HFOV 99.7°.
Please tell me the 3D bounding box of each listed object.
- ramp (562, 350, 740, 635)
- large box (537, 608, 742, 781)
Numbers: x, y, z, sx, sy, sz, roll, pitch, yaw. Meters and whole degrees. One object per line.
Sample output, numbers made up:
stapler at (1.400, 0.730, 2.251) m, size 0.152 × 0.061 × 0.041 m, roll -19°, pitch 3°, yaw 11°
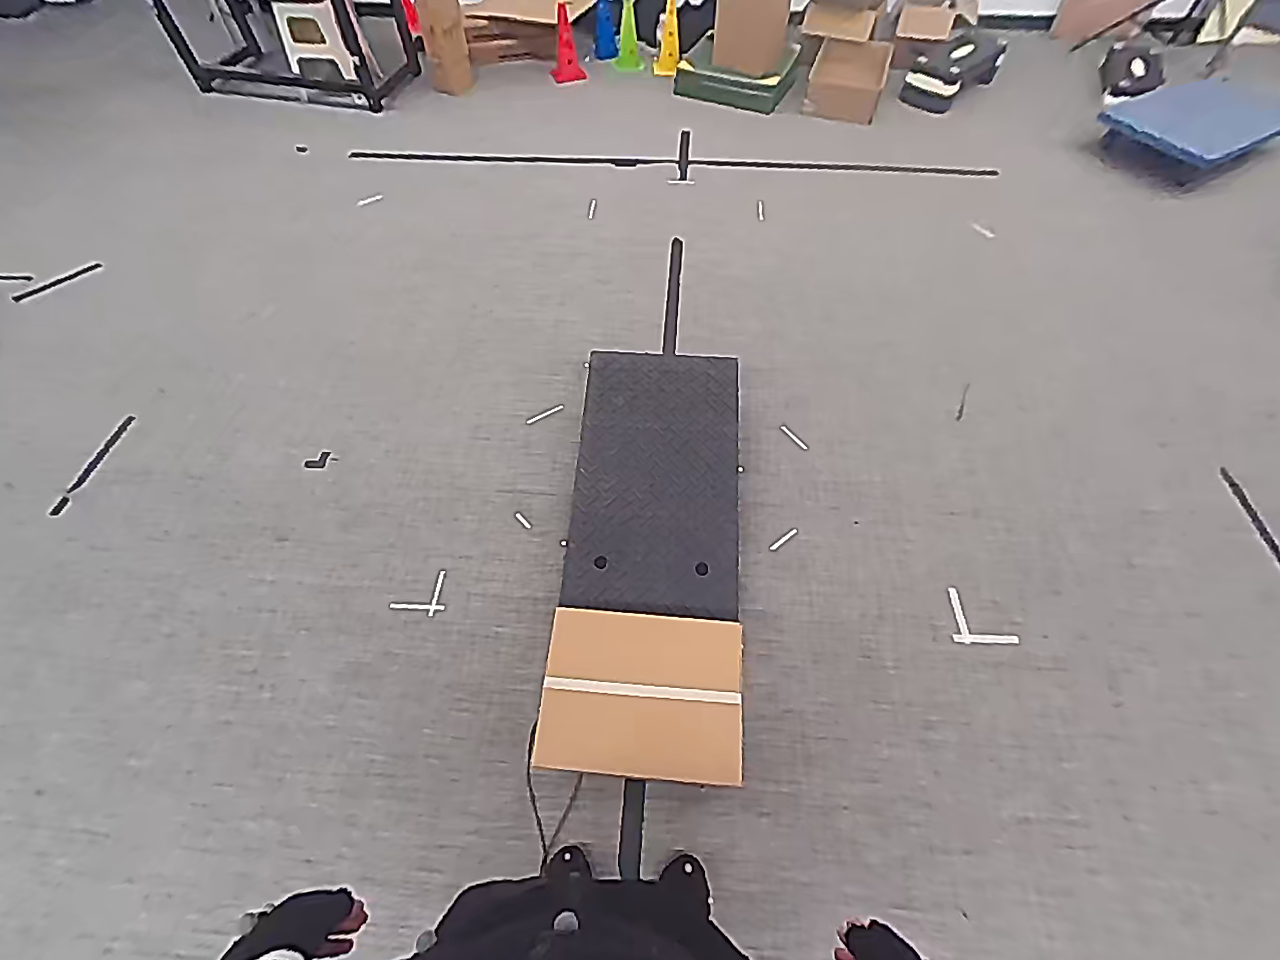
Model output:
ramp at (0.053, 0.040, 1.611) m, size 0.509 × 0.206 × 0.991 m, roll 3°, pitch 58°, yaw 1°
large box at (0.011, 0.497, 1.240) m, size 0.408 × 0.320 × 0.320 m, roll 4°, pitch 61°, yaw 3°
